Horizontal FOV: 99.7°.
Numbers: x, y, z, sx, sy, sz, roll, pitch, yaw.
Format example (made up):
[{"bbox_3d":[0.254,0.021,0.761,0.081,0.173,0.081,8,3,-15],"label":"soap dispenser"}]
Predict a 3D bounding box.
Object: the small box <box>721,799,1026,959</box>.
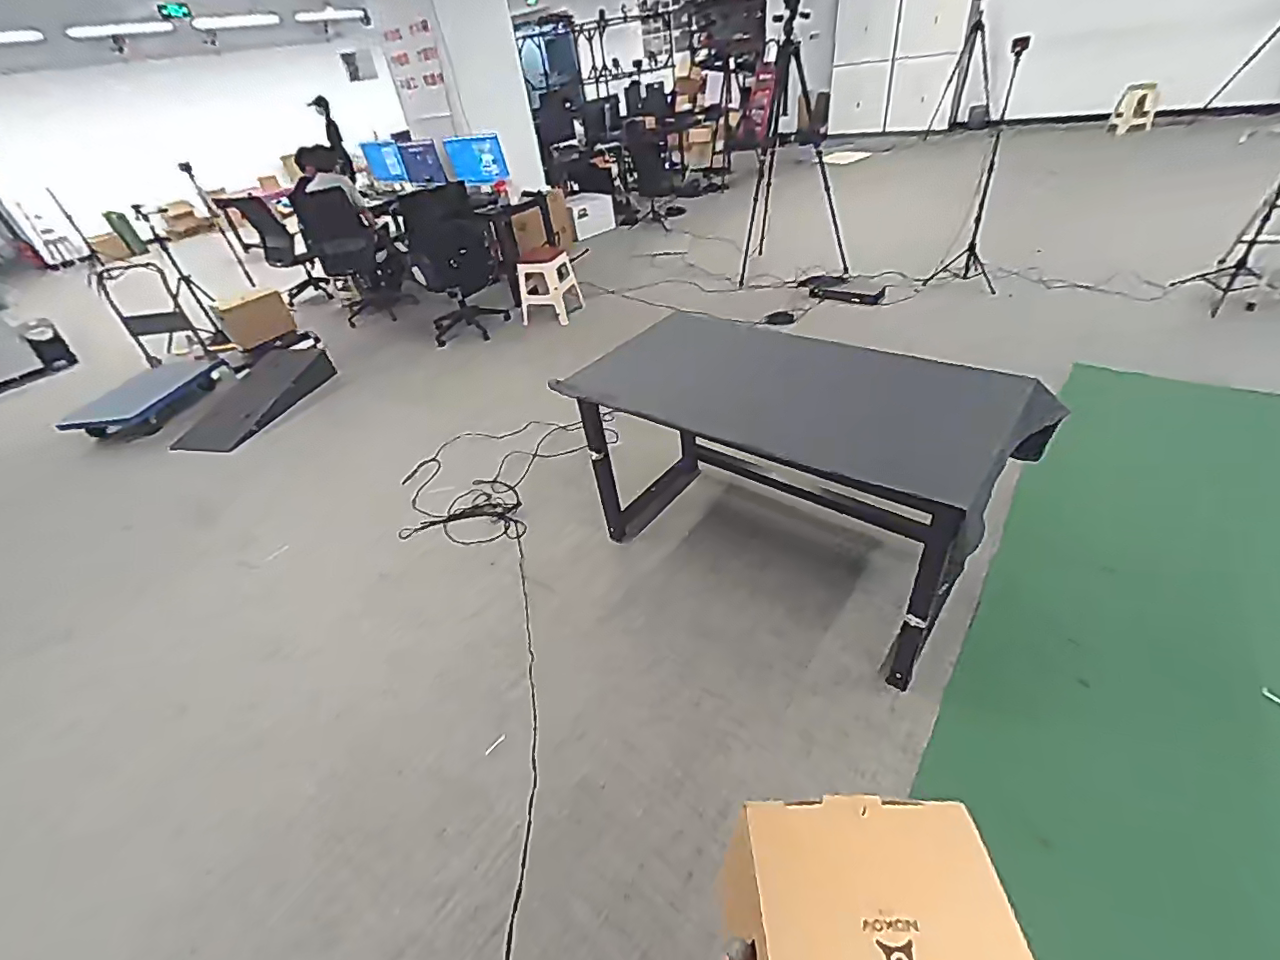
[{"bbox_3d":[0.155,0.356,0.384,0.168,0.176,0.179,1,37,-1],"label":"small box"}]
